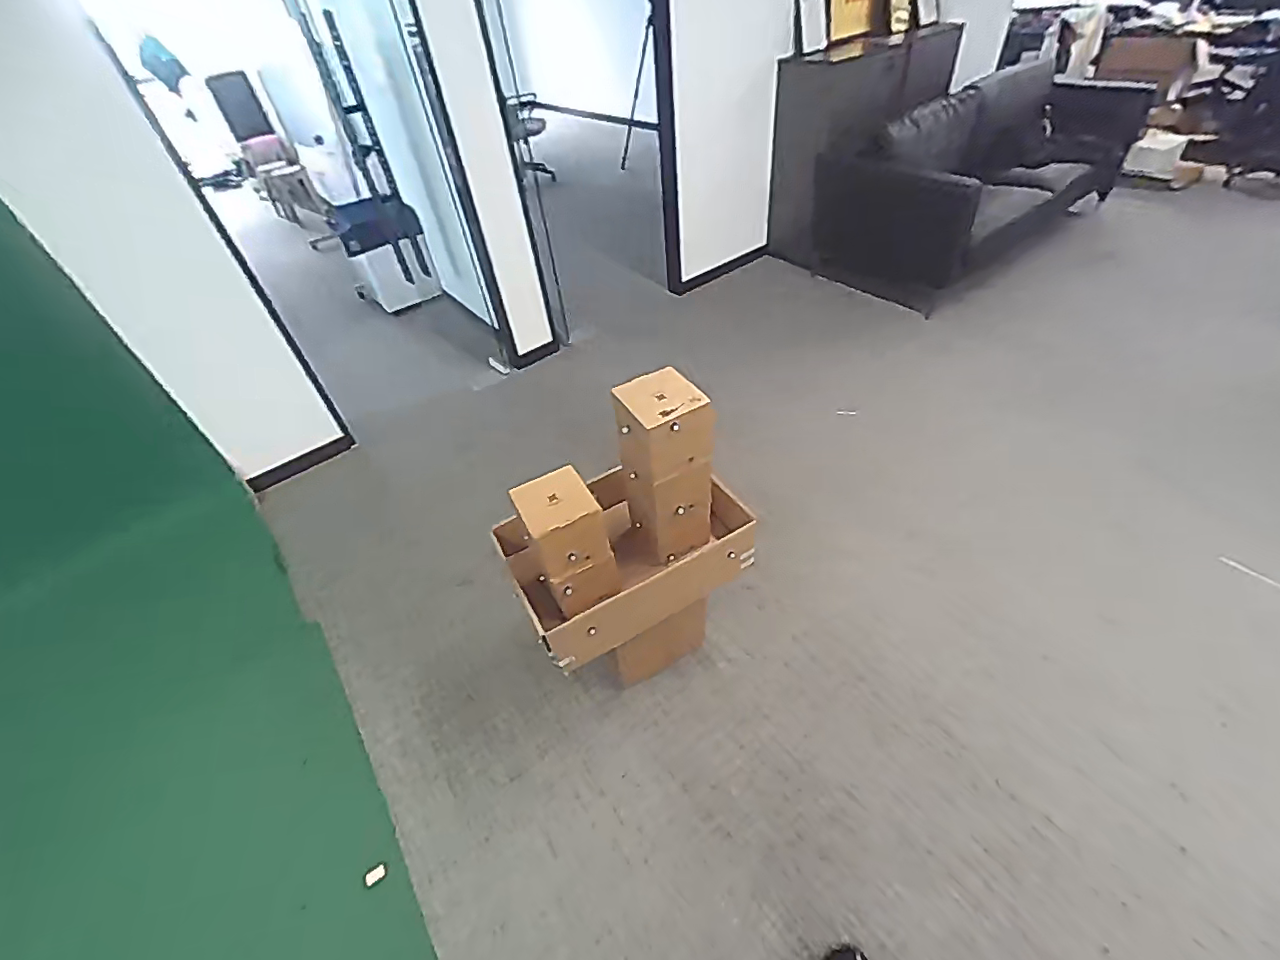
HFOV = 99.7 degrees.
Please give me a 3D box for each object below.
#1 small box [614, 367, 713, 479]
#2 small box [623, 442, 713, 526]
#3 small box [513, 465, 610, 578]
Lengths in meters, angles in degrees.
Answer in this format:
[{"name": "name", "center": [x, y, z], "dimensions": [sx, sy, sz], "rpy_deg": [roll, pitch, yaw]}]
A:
[{"name": "small box", "center": [0.057, -0.133, 1.269], "dimensions": [0.168, 0.176, 0.179], "rpy_deg": [-26, 47, -16]}, {"name": "small box", "center": [0.072, -0.016, 1.383], "dimensions": [0.168, 0.176, 0.179], "rpy_deg": [-25, 48, -16]}, {"name": "small box", "center": [-0.186, 0.100, 1.301], "dimensions": [0.168, 0.176, 0.179], "rpy_deg": [-24, 47, -17]}]
